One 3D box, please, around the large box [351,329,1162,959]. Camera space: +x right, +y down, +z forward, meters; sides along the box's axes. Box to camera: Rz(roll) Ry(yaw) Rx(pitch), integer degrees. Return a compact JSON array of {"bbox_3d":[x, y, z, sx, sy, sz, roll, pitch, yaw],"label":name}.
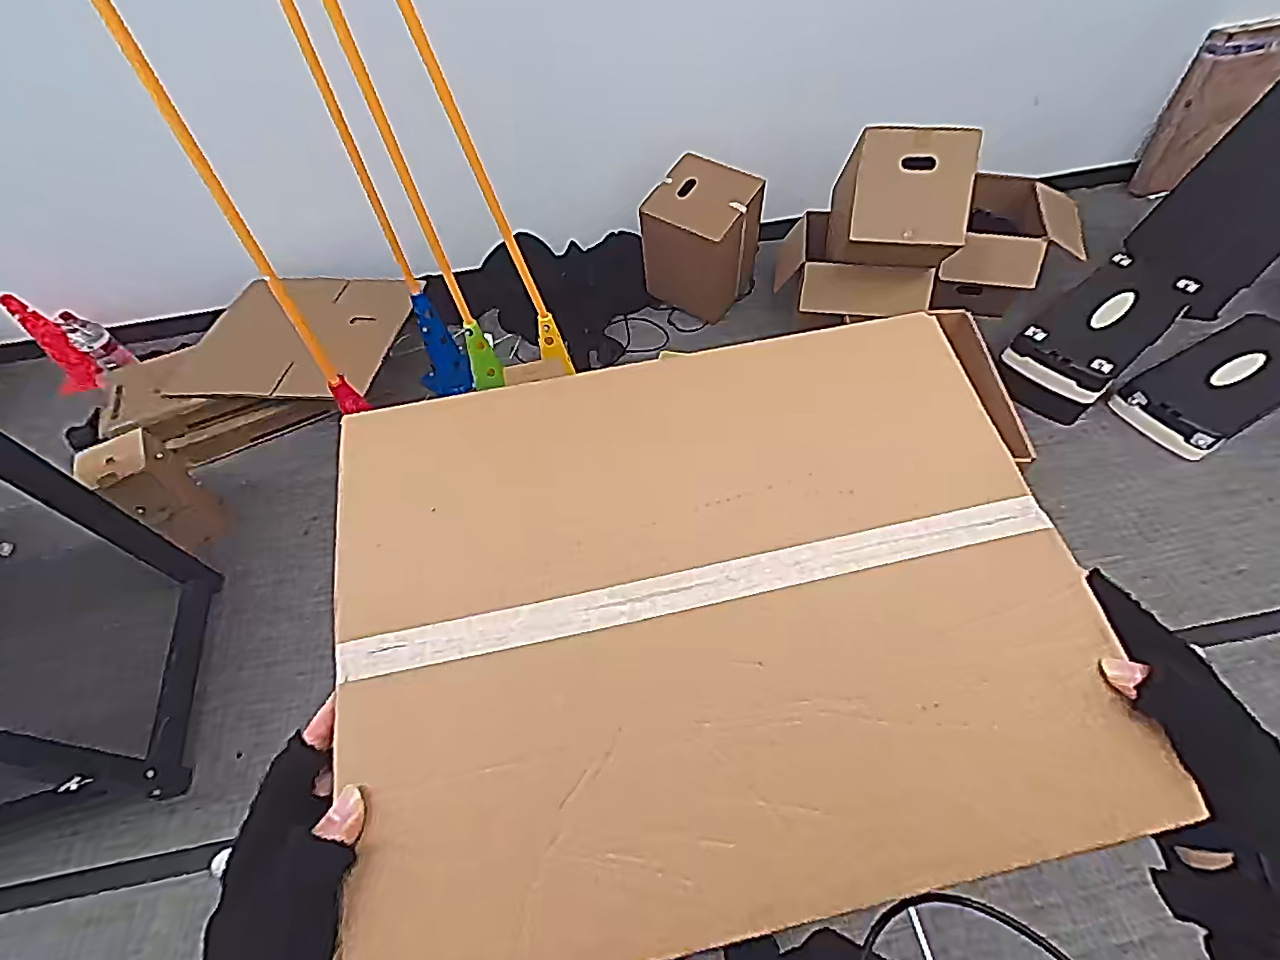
[{"bbox_3d":[0.041,0.127,0.447,0.408,0.320,0.320,-12,66,-4],"label":"large box"}]
